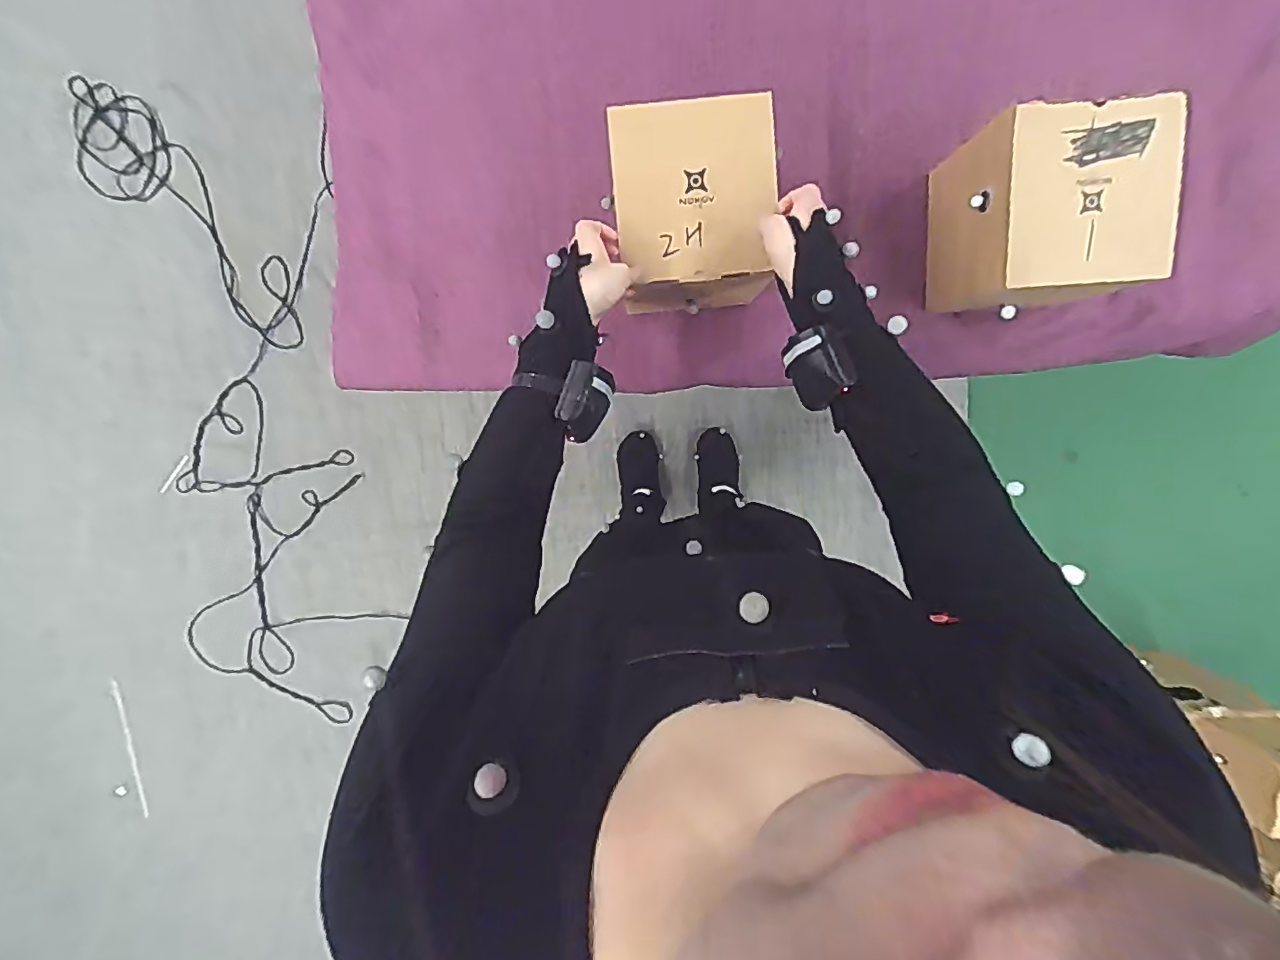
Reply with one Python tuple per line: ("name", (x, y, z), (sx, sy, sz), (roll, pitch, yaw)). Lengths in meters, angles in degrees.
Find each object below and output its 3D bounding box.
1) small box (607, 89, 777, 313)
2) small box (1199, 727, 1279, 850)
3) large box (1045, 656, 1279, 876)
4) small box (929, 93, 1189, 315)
("small box", (0.053, -0.300, 0.616), (0.168, 0.176, 0.179), (-4, 97, 2))
("small box", (1.352, 0.639, 1.133), (0.179, 0.176, 0.168), (-1, 99, 2))
("large box", (1.313, 0.710, 1.390), (0.320, 0.320, 0.408), (-1, 99, 3))
("small box", (0.447, -0.291, 0.607), (0.168, 0.176, 0.179), (-2, 98, 3))
